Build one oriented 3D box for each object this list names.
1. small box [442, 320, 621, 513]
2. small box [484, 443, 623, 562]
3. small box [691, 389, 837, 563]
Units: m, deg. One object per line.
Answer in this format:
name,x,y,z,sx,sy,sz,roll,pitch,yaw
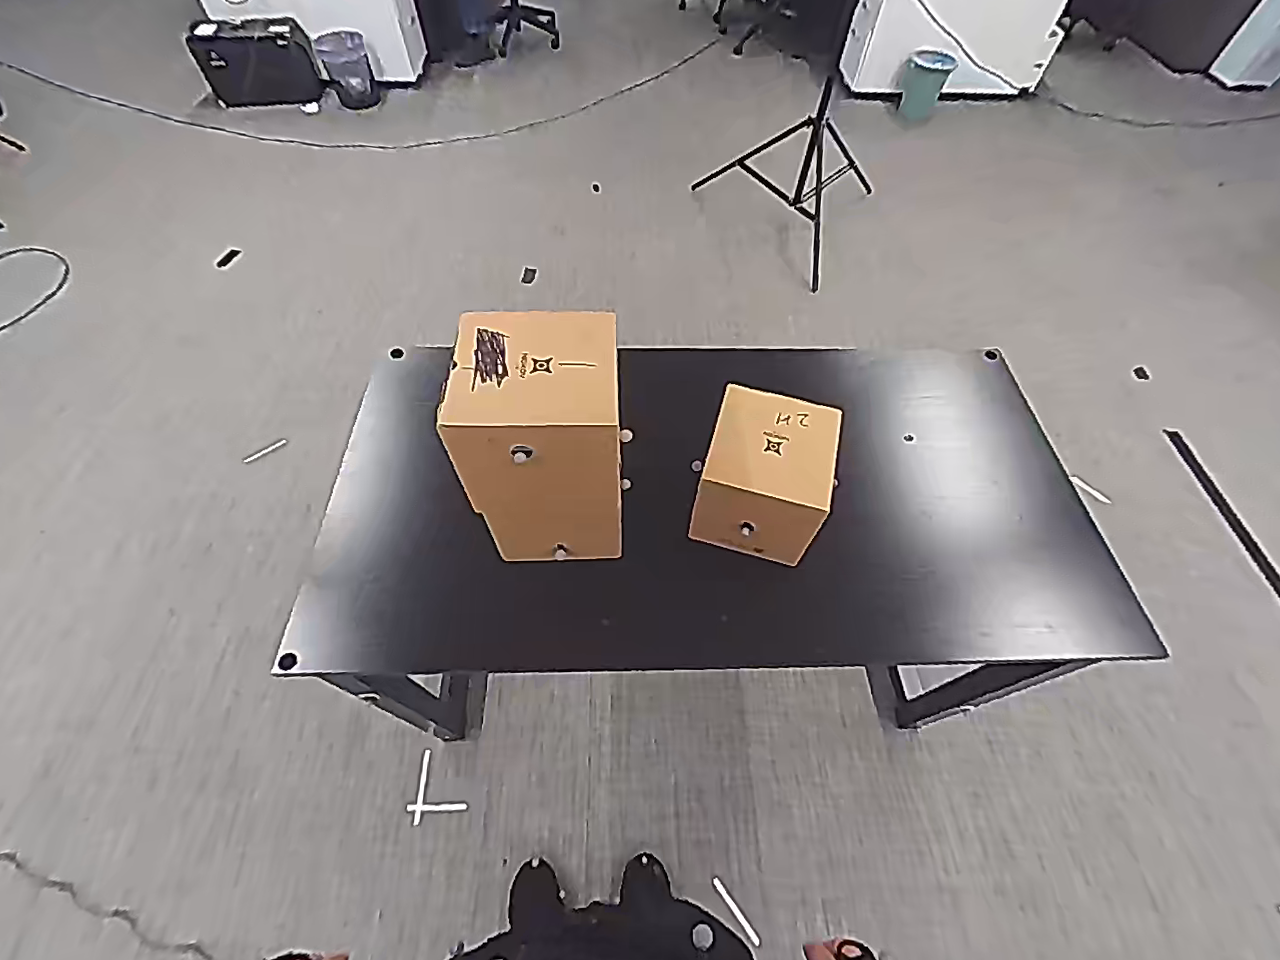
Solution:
small box,-0.112,-0.069,0.642,0.179,0.176,0.168,-1,57,-3
small box,-0.117,0.011,0.787,0.179,0.176,0.168,-1,56,-3
small box,0.176,0.000,0.802,0.168,0.176,0.179,15,57,8
